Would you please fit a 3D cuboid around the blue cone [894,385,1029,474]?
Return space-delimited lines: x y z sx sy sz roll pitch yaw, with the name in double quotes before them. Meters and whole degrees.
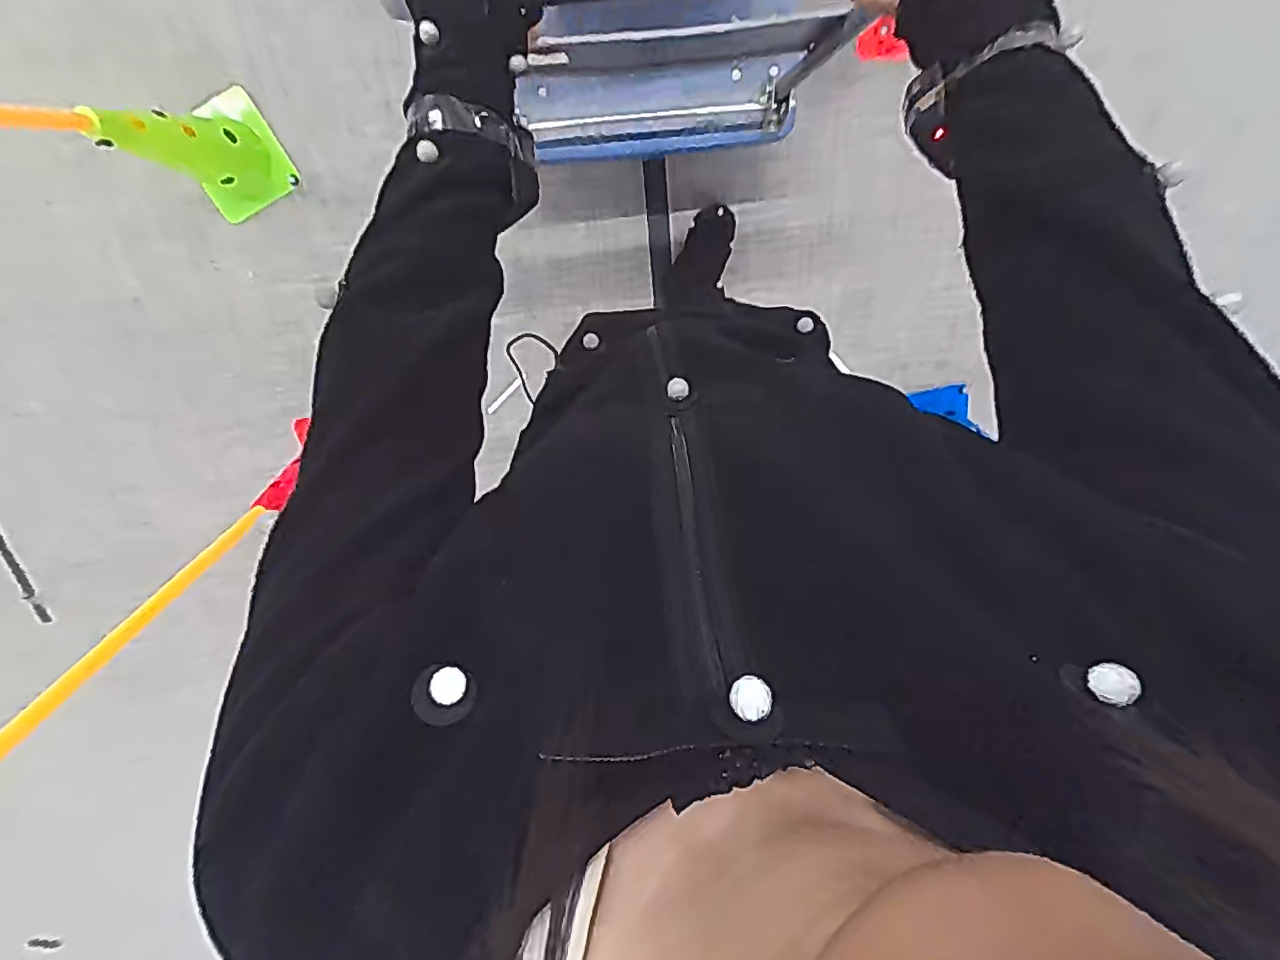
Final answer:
"blue cone" 0.780 -0.087 1.289 0.193 0.380 0.192 -10 111 1

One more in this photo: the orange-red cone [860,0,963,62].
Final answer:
"orange-red cone" 0.560 -0.894 0.927 0.199 0.360 0.198 -1 113 -3
